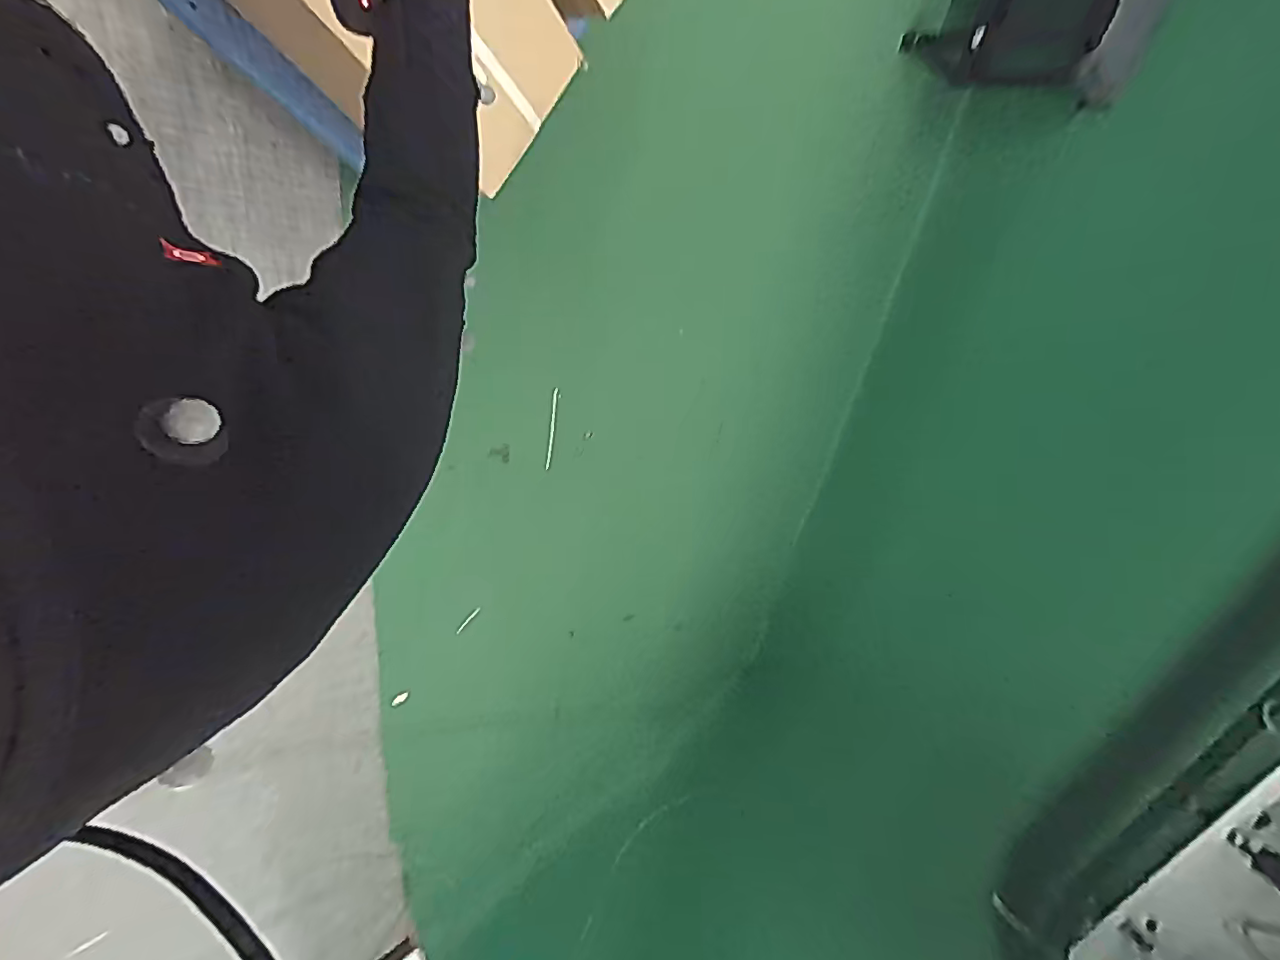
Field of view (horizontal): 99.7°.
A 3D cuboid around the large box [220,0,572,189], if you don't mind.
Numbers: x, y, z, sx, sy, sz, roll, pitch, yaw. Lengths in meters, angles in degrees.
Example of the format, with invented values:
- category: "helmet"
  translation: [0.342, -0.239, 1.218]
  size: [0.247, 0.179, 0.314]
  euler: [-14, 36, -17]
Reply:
- category: "large box"
  translation: [-0.400, -0.770, 0.895]
  size: [0.320, 0.320, 0.408]
  euler: [-58, 145, -2]
